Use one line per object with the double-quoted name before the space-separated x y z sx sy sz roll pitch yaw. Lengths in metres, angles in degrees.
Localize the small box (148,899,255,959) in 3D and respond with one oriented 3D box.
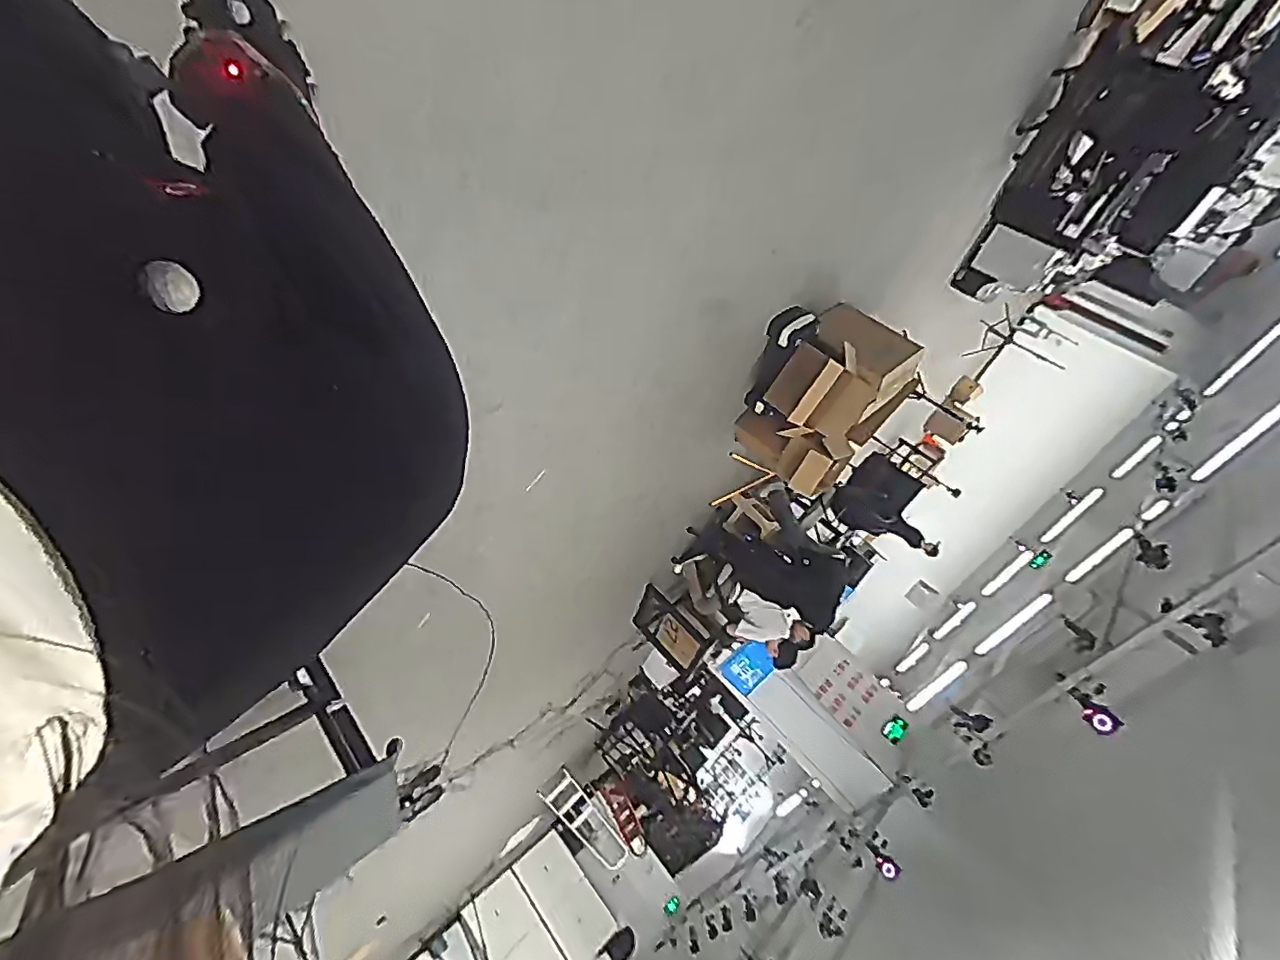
"small box" -1.126 1.242 1.393 0.179 0.176 0.168 -26 147 -41
